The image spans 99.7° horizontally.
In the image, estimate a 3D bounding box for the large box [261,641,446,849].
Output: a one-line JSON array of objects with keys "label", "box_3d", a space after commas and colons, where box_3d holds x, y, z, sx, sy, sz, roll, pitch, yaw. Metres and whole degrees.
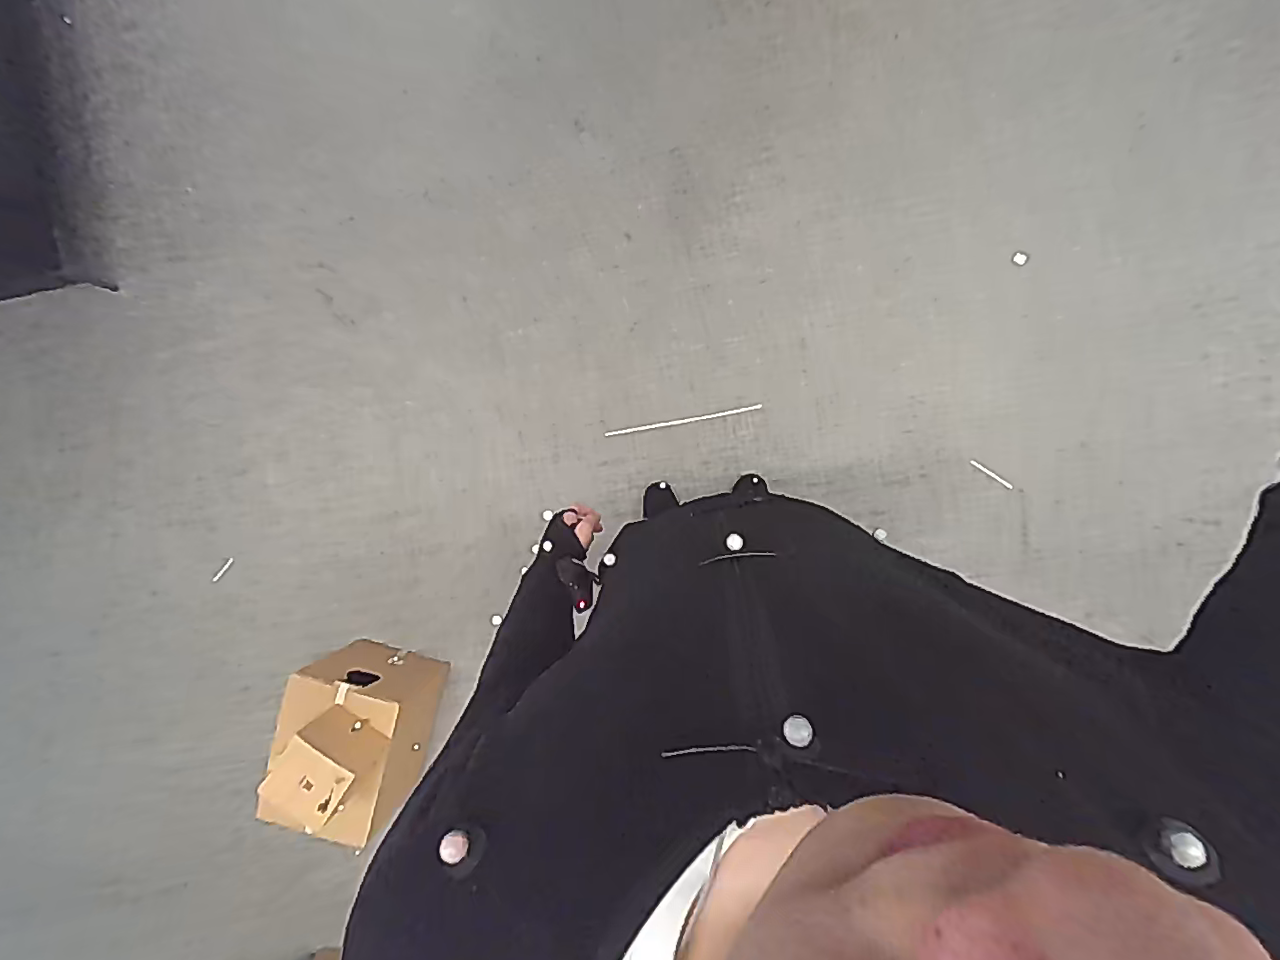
[{"label": "large box", "box_3d": [-0.798, 0.729, 1.555, 0.320, 0.320, 0.408, 14, 92, 4]}]

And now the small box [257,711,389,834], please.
[{"label": "small box", "box_3d": [-0.755, 0.690, 1.305, 0.179, 0.176, 0.168, 34, 92, 2]}]
